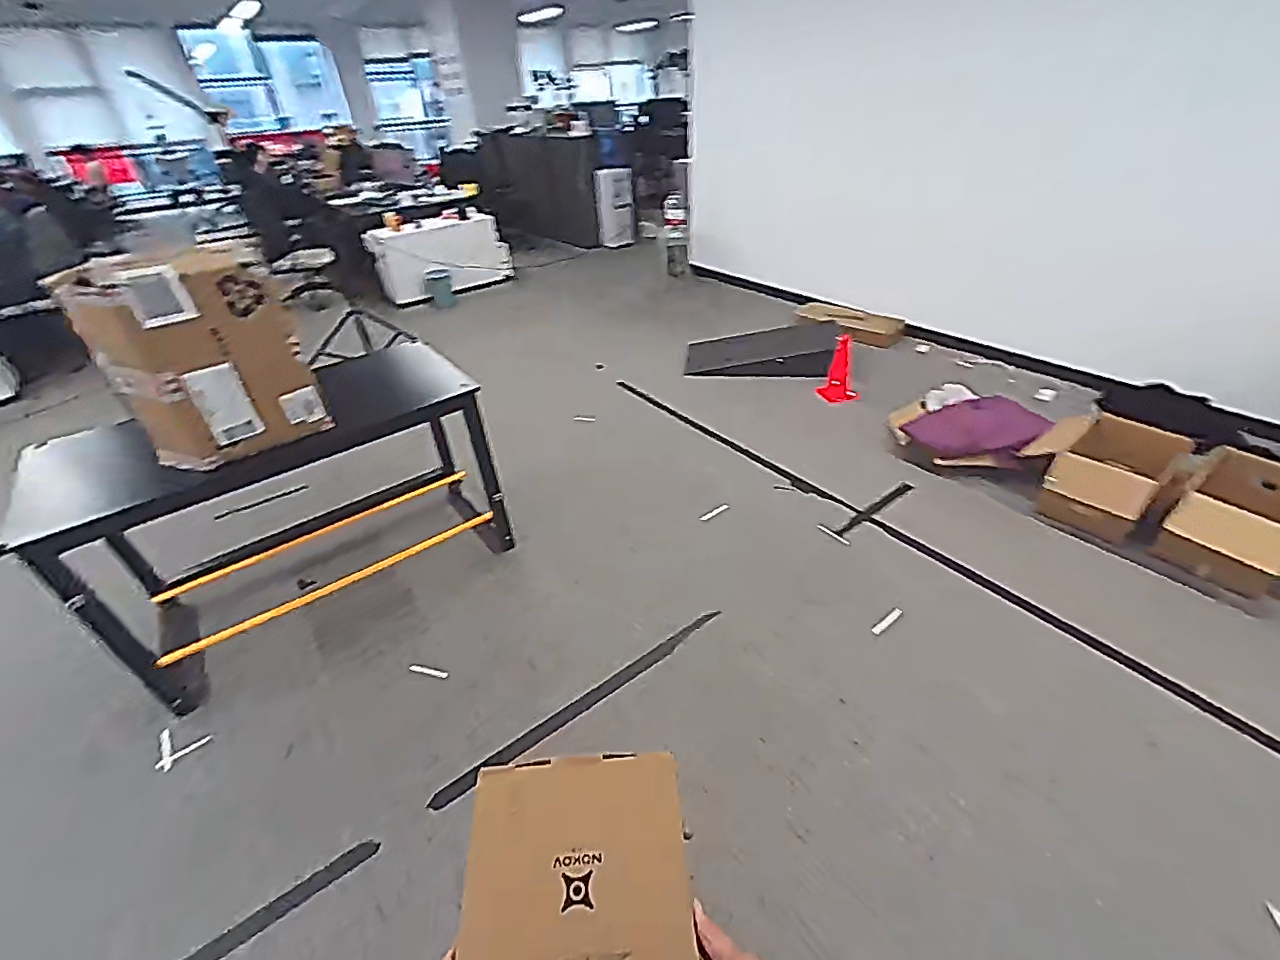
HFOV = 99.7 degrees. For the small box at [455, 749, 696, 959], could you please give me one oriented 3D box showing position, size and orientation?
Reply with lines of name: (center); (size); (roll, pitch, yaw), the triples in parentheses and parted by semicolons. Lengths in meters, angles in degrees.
small box: (-0.048, 0.354, 0.454); (0.168, 0.176, 0.179); (-4, 44, -4)
